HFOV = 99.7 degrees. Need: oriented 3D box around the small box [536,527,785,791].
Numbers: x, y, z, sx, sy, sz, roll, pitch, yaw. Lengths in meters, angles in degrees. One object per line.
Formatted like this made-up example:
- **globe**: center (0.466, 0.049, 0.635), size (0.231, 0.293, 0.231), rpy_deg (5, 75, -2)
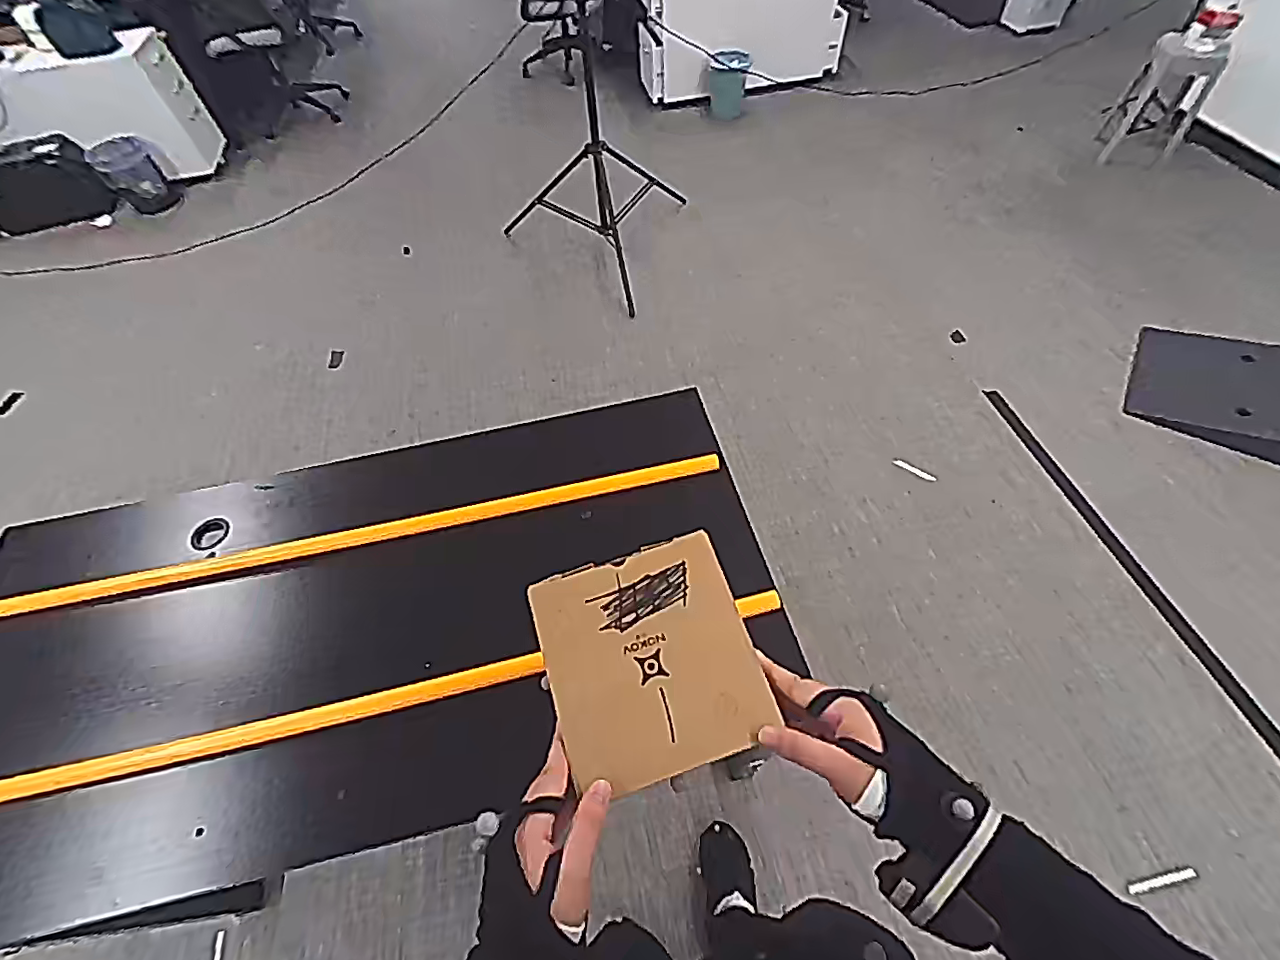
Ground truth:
- **small box**: center (0.012, 0.173, 0.515), size (0.168, 0.176, 0.179), rpy_deg (-18, 64, -7)
